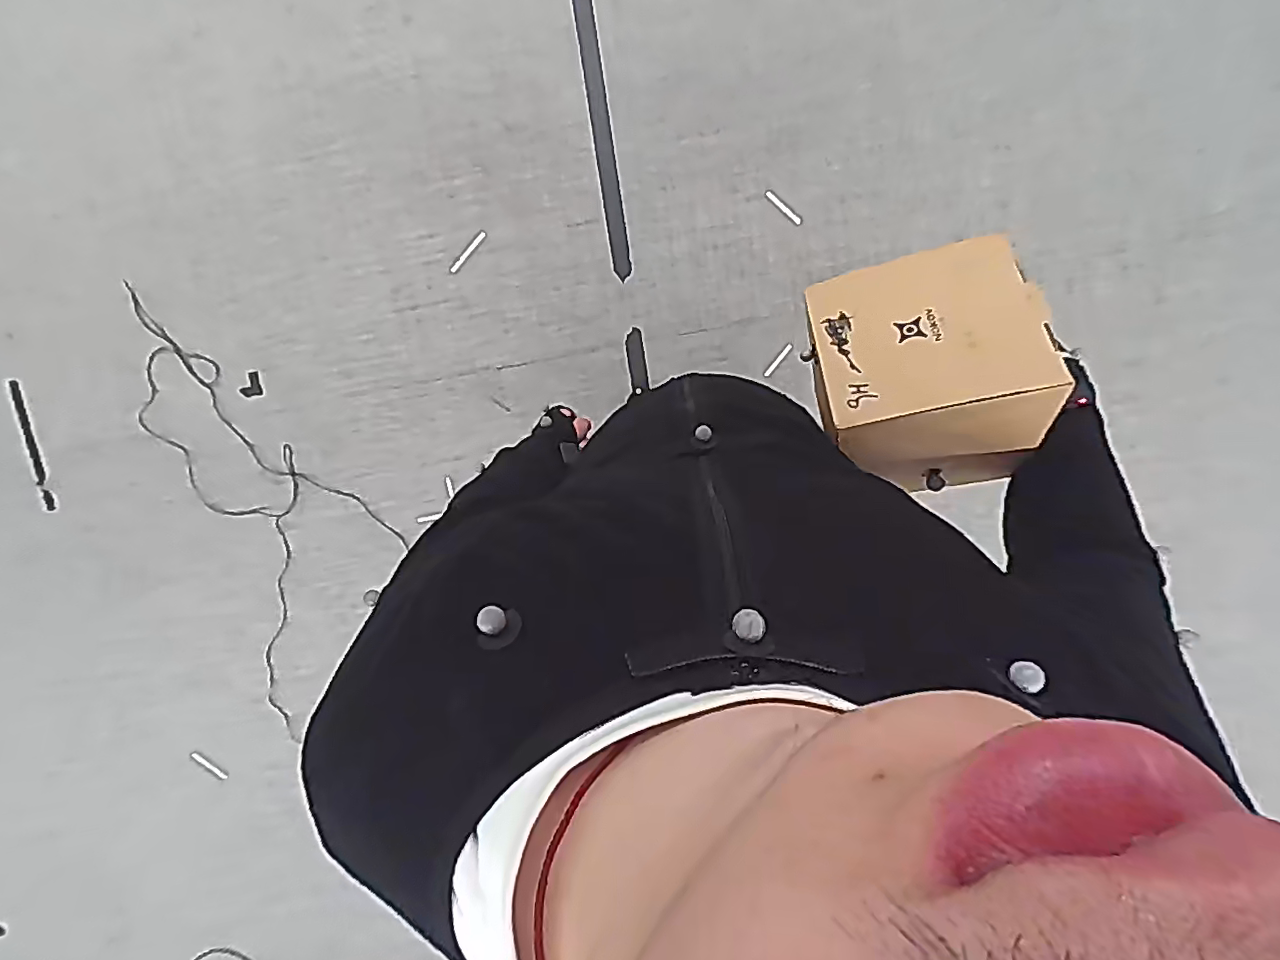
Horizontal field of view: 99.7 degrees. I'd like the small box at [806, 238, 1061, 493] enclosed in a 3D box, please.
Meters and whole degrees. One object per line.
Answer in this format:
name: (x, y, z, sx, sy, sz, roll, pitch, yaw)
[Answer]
small box: (0.274, -0.101, 0.550, 0.179, 0.176, 0.168, -11, 61, 17)
